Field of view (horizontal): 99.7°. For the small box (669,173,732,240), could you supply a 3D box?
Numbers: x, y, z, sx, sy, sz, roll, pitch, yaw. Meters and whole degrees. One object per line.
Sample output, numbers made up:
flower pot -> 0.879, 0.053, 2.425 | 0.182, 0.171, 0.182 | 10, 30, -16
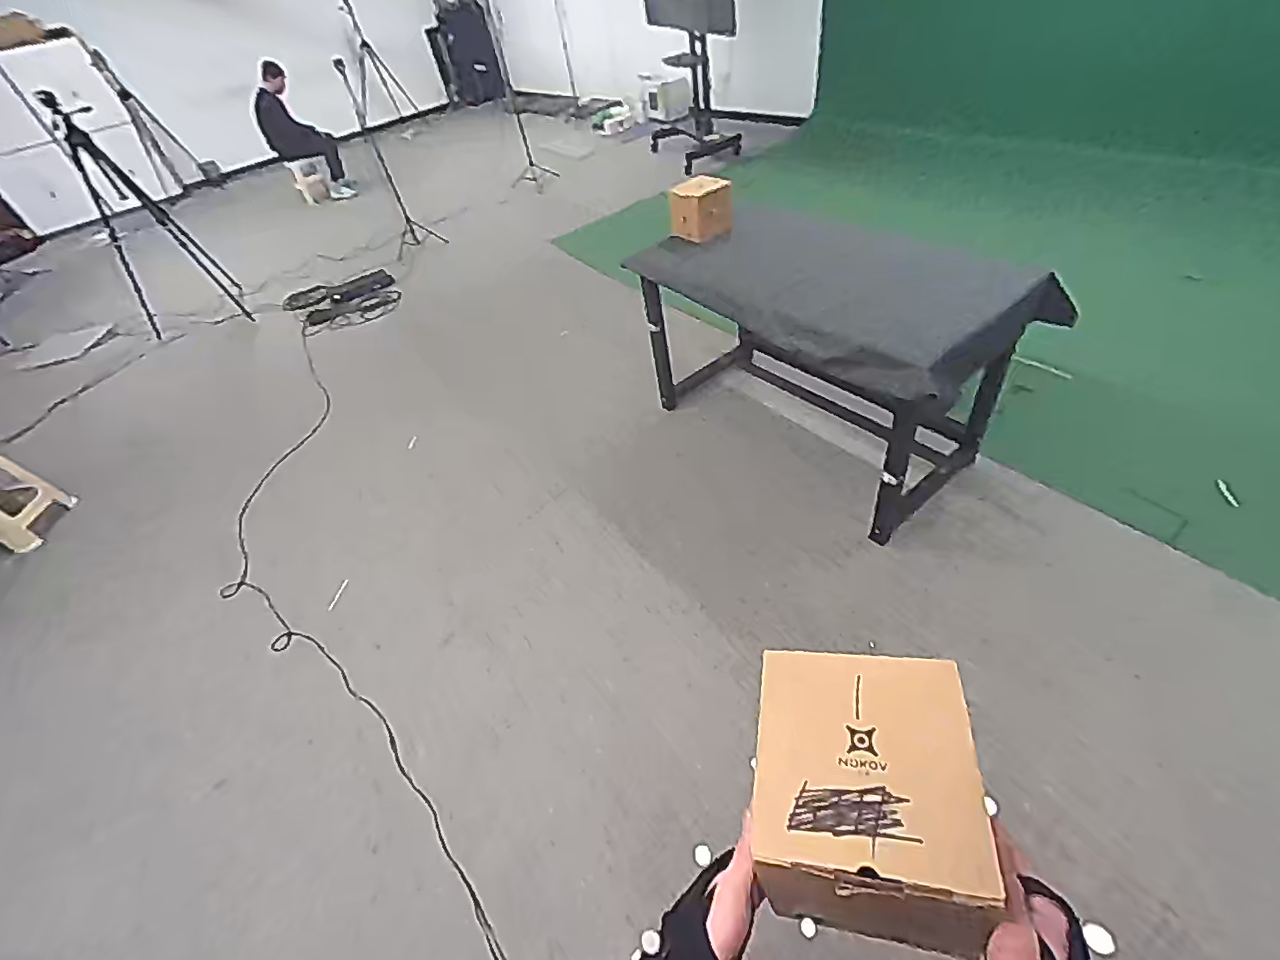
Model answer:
small box -> 0.238, -1.041, 2.059 | 0.179, 0.176, 0.168 | -35, 50, -19

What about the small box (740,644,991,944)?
small box -> 0.191, 0.270, 0.477 | 0.168, 0.176, 0.179 | -3, 40, 21
